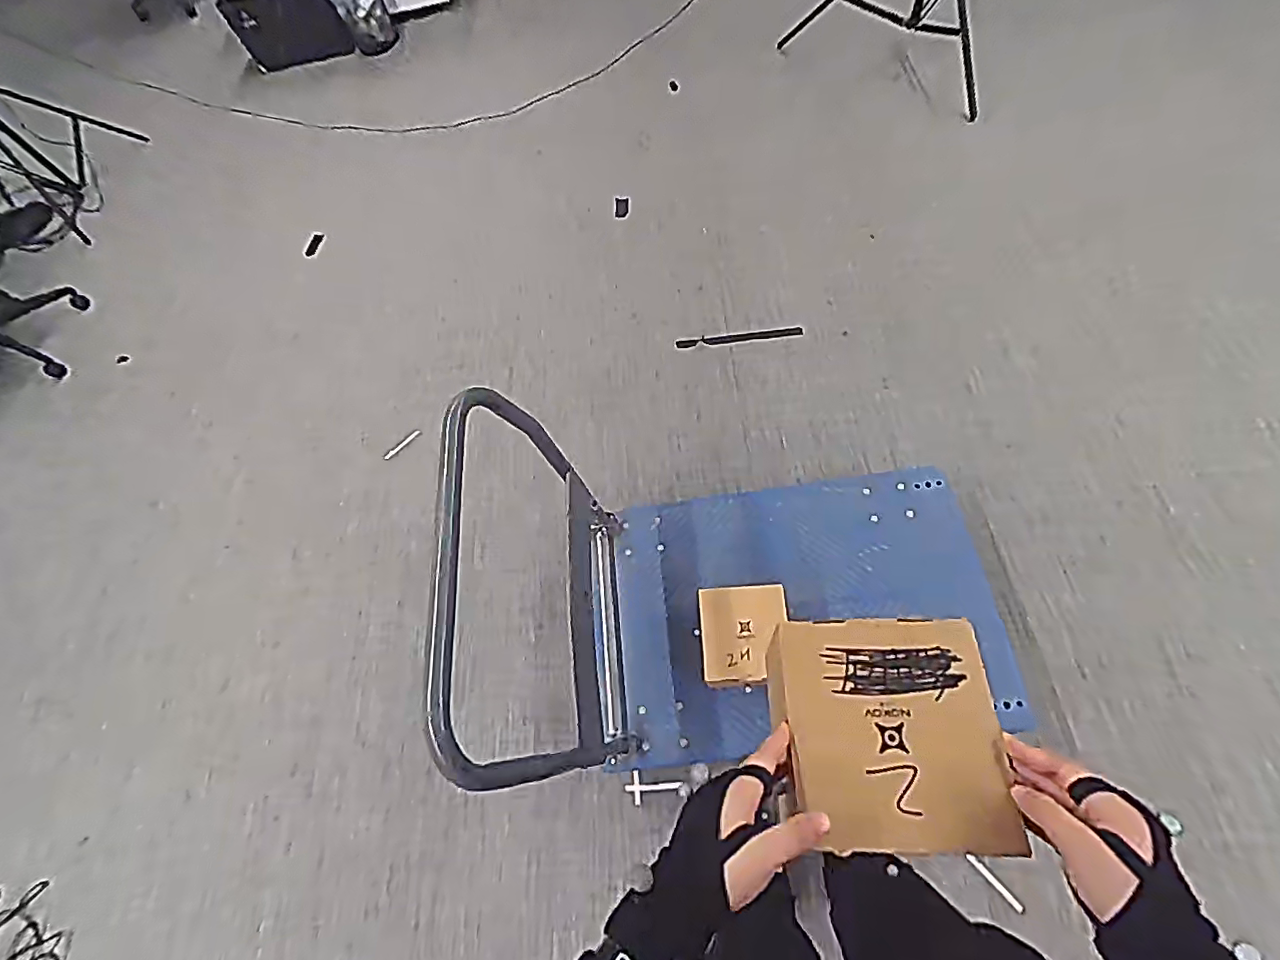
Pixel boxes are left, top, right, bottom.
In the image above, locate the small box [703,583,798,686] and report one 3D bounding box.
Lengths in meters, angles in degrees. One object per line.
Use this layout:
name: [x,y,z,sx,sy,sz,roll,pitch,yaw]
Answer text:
small box: [0.217,0.318,1.098,0.168,0.176,0.179,-5,65,8]
